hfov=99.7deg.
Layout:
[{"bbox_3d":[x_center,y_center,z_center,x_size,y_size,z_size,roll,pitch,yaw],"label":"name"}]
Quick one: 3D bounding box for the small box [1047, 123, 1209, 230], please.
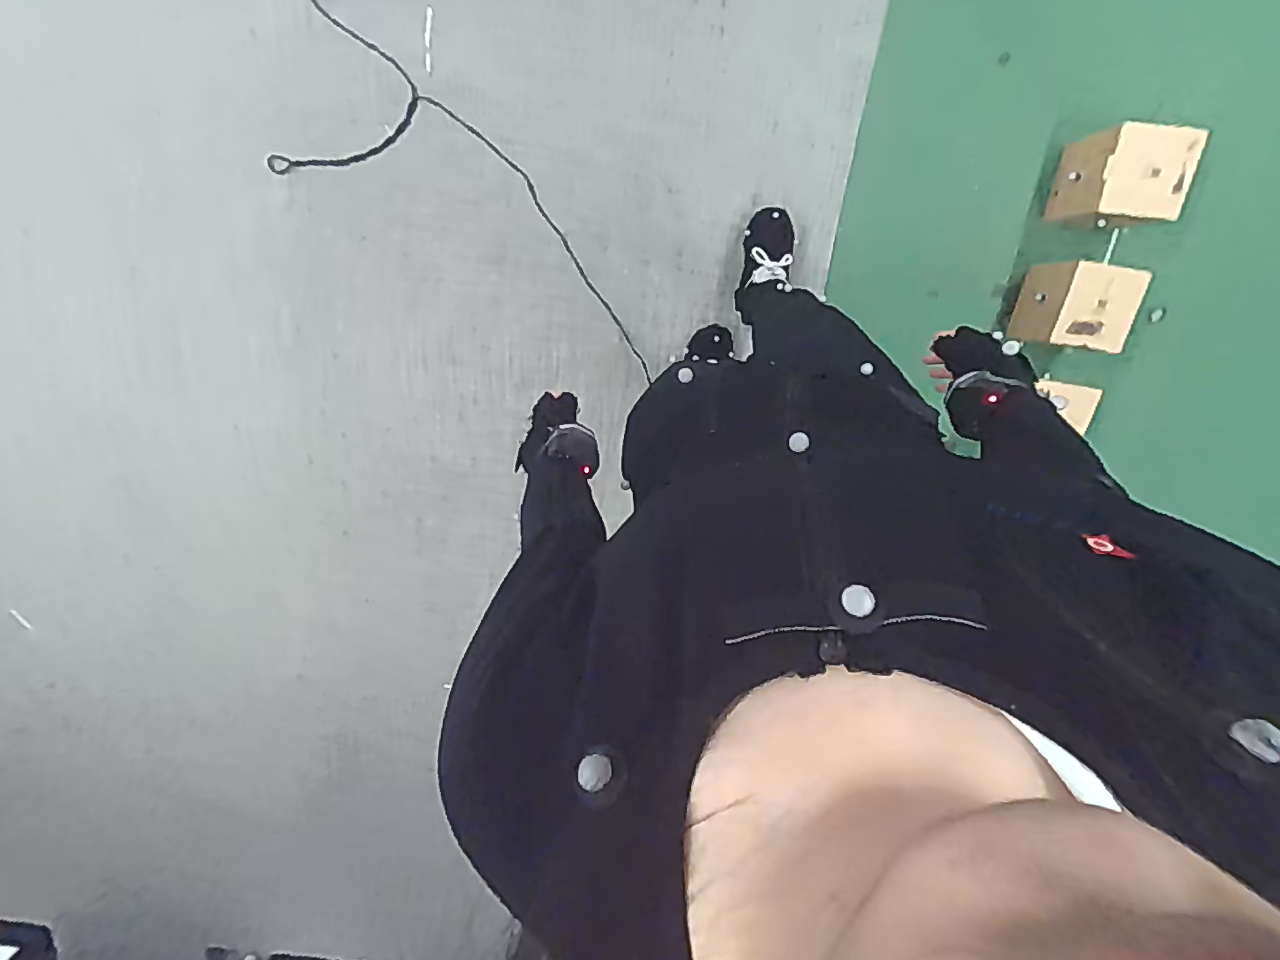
[{"bbox_3d":[1.044,-0.650,1.179,0.179,0.176,0.168,7,108,0],"label":"small box"}]
